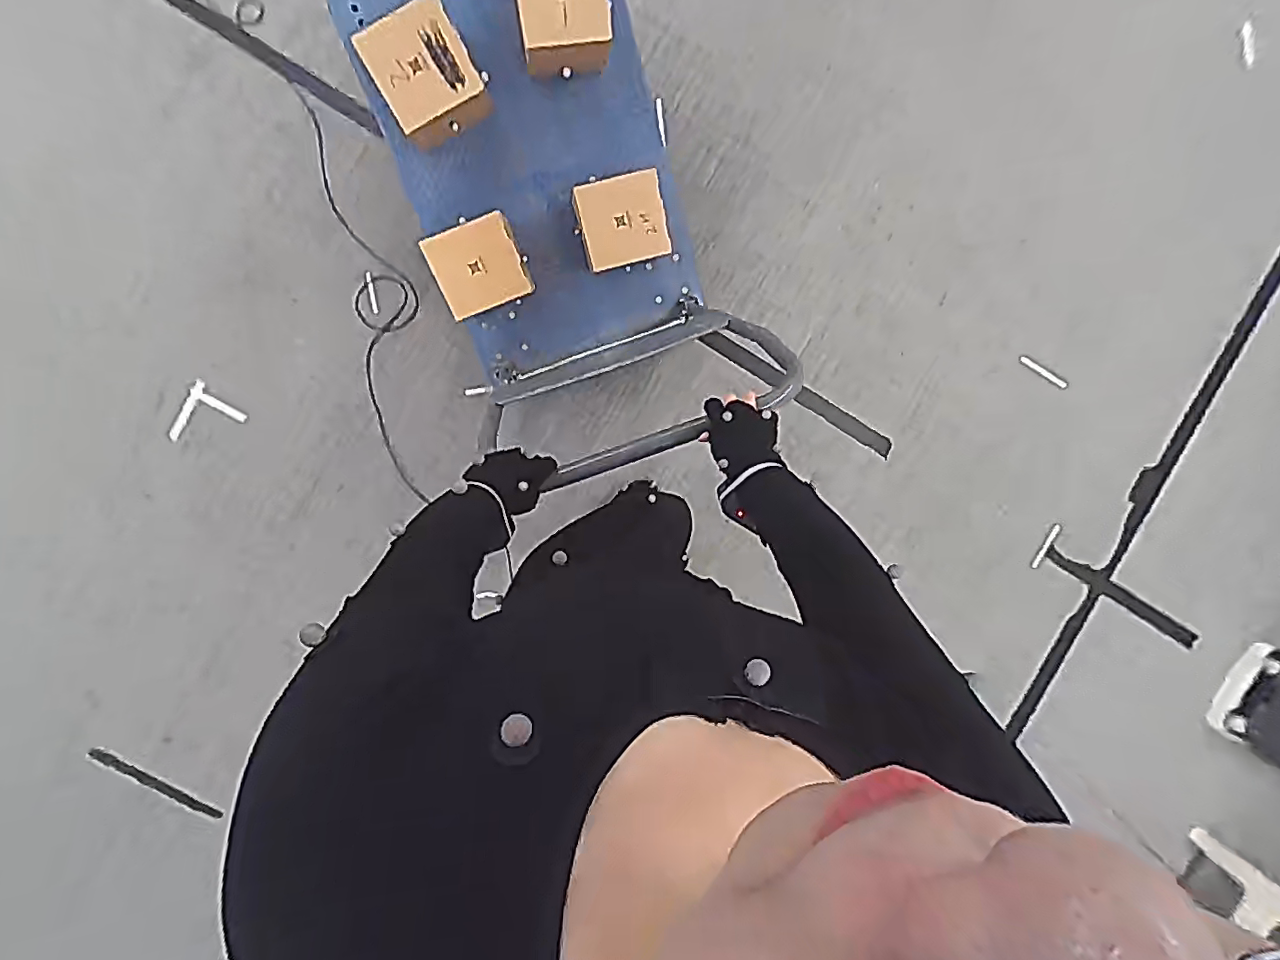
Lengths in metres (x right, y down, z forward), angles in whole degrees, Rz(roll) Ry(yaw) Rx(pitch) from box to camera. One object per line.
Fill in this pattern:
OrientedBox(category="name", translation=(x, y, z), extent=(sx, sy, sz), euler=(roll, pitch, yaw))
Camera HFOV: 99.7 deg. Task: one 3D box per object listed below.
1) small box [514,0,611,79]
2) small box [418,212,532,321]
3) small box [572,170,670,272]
OrientedBox(category="small box", translation=(-0.156, -0.911, 1.042), extent=(0.168, 0.176, 0.179), euler=(-10, 112, -5))
OrientedBox(category="small box", translation=(-0.347, -0.458, 1.178), extent=(0.179, 0.176, 0.168), euler=(-23, 112, -2))
OrientedBox(category="small box", translation=(-0.046, -0.559, 1.187), extent=(0.179, 0.176, 0.168), euler=(-15, 112, -3))
